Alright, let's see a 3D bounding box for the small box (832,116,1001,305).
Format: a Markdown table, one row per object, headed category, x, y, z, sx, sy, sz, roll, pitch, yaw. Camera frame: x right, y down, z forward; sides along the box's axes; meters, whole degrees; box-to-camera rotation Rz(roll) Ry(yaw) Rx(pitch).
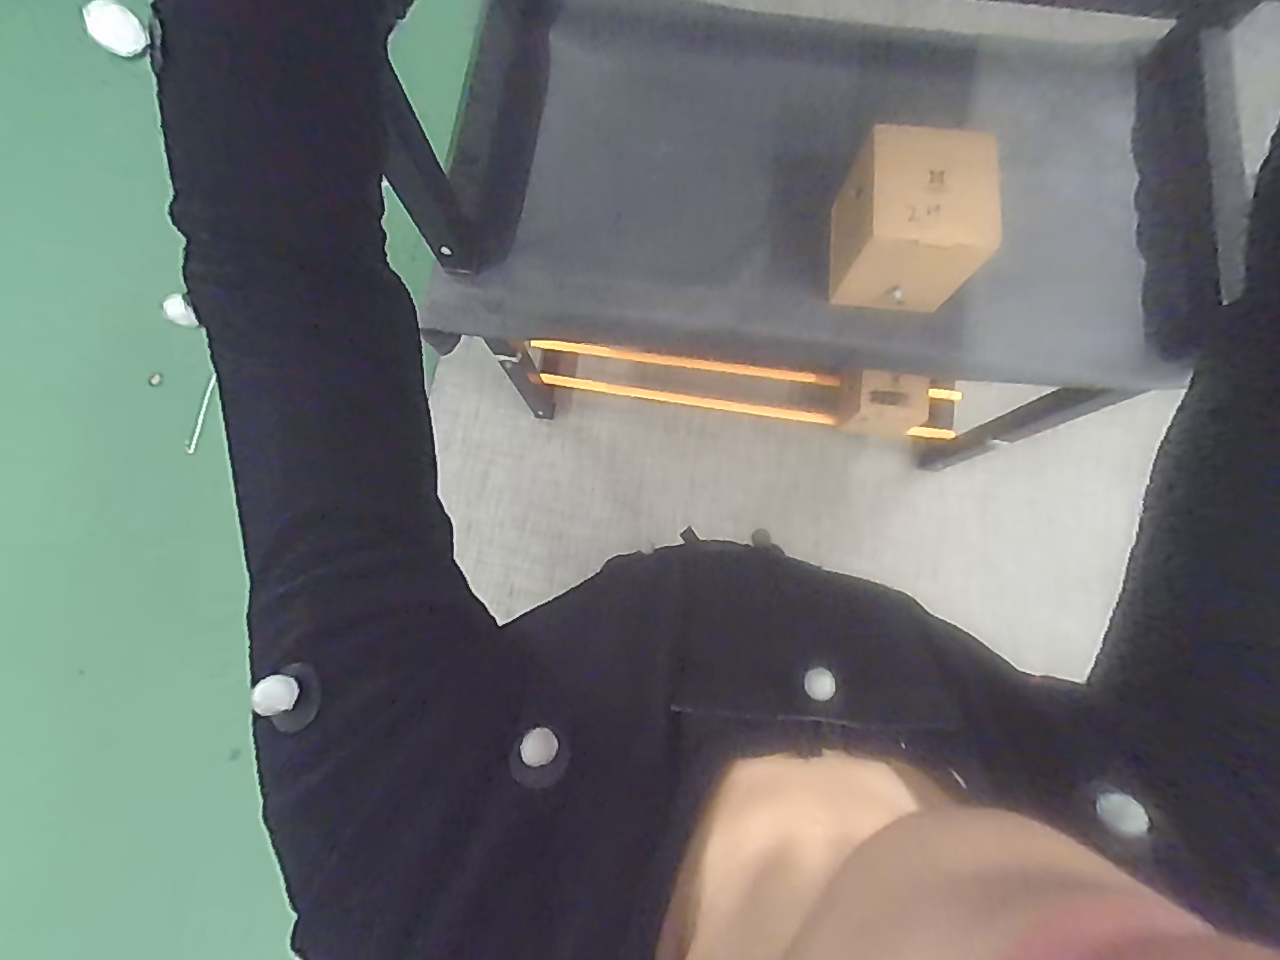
| category | x | y | z | sx | sy | sz | roll | pitch | yaw |
| --- | --- | --- | --- | --- | --- | --- | --- | --- | --- |
| small box | 0.390 | -0.383 | 0.789 | 0.168 | 0.176 | 0.179 | 5 | 78 | 2 |
